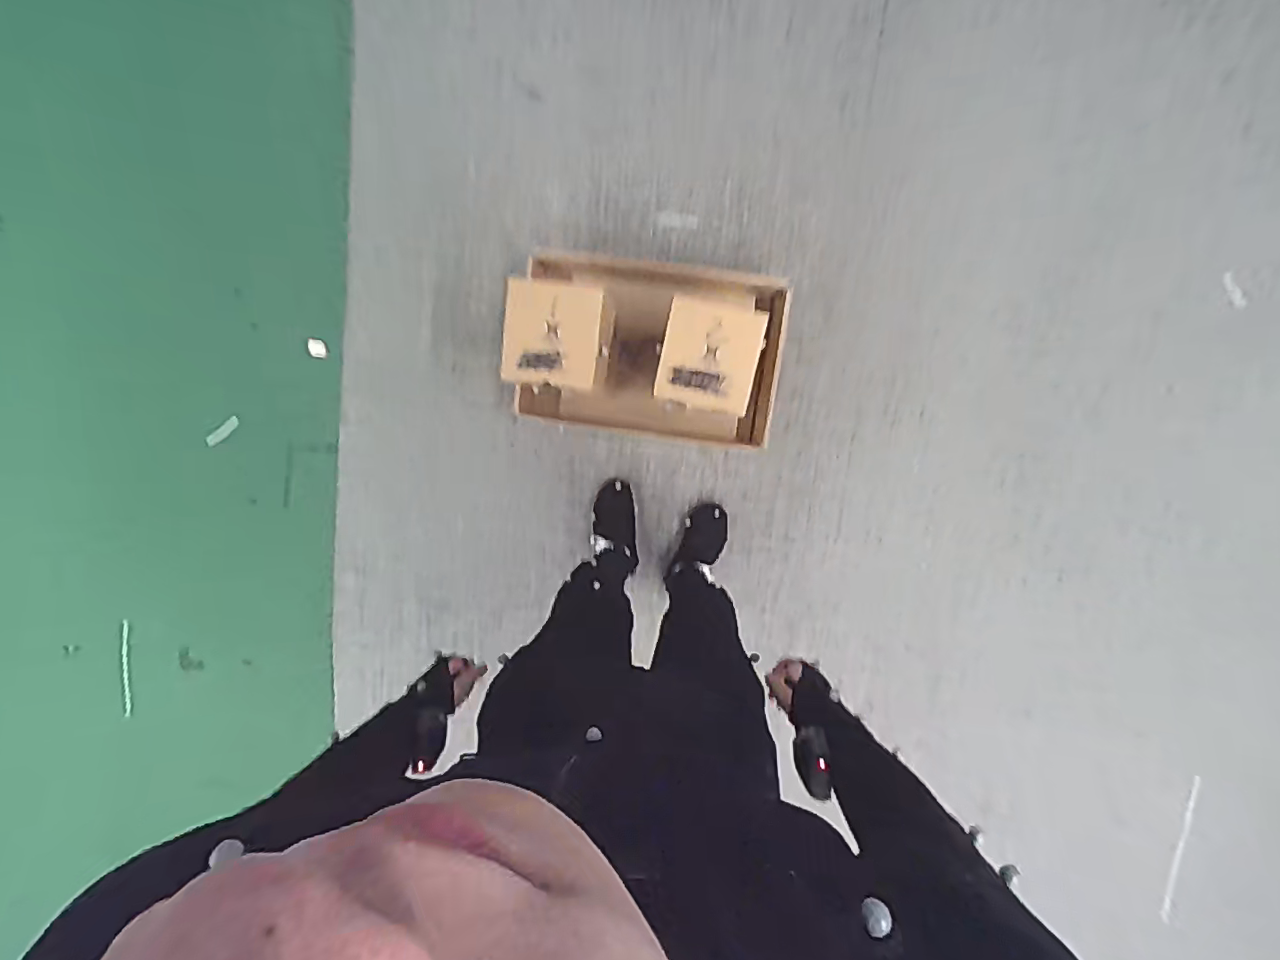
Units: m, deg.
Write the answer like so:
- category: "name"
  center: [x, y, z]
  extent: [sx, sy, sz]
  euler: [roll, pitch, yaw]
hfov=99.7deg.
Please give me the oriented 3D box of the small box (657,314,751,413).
- category: "small box"
  center: [0.130, -0.245, 1.164]
  extent: [0.168, 0.176, 0.179]
  euler: [9, 99, 1]

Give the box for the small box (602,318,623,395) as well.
- category: "small box"
  center: [-0.137, -0.310, 1.329]
  extent: [0.168, 0.176, 0.179]
  euler: [10, 97, 1]

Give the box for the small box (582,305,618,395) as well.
- category: "small box"
  center: [-0.143, -0.285, 1.169]
  extent: [0.168, 0.176, 0.179]
  euler: [9, 98, 0]

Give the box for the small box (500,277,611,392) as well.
- category: "small box"
  center: [-0.149, -0.260, 1.007]
  extent: [0.168, 0.176, 0.179]
  euler: [7, 97, 1]
